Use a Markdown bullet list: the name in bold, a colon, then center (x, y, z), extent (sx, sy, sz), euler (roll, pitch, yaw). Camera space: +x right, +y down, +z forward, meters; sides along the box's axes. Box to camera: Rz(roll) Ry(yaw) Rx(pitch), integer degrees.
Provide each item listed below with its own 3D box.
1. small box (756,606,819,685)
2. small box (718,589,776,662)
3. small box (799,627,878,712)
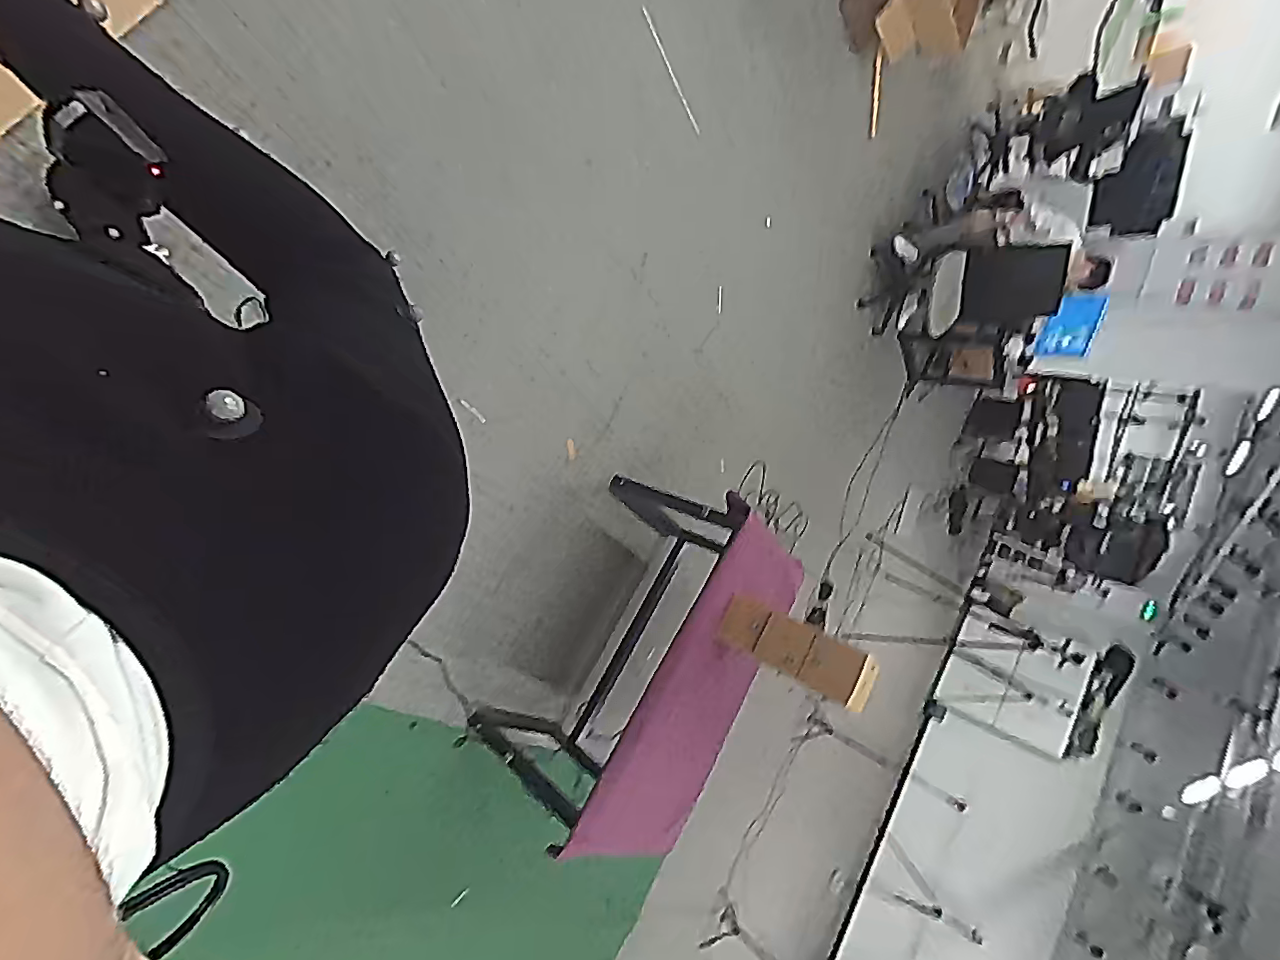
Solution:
- **small box**: center (0.510, 0.557, 1.821), extent (0.179, 0.176, 0.168), euler (-59, 137, -13)
- **small box**: center (0.403, 0.520, 1.943), extent (0.168, 0.176, 0.179), euler (42, 73, -46)
- **small box**: center (0.623, 0.597, 1.710), extent (0.179, 0.176, 0.168), euler (-59, 137, -12)
